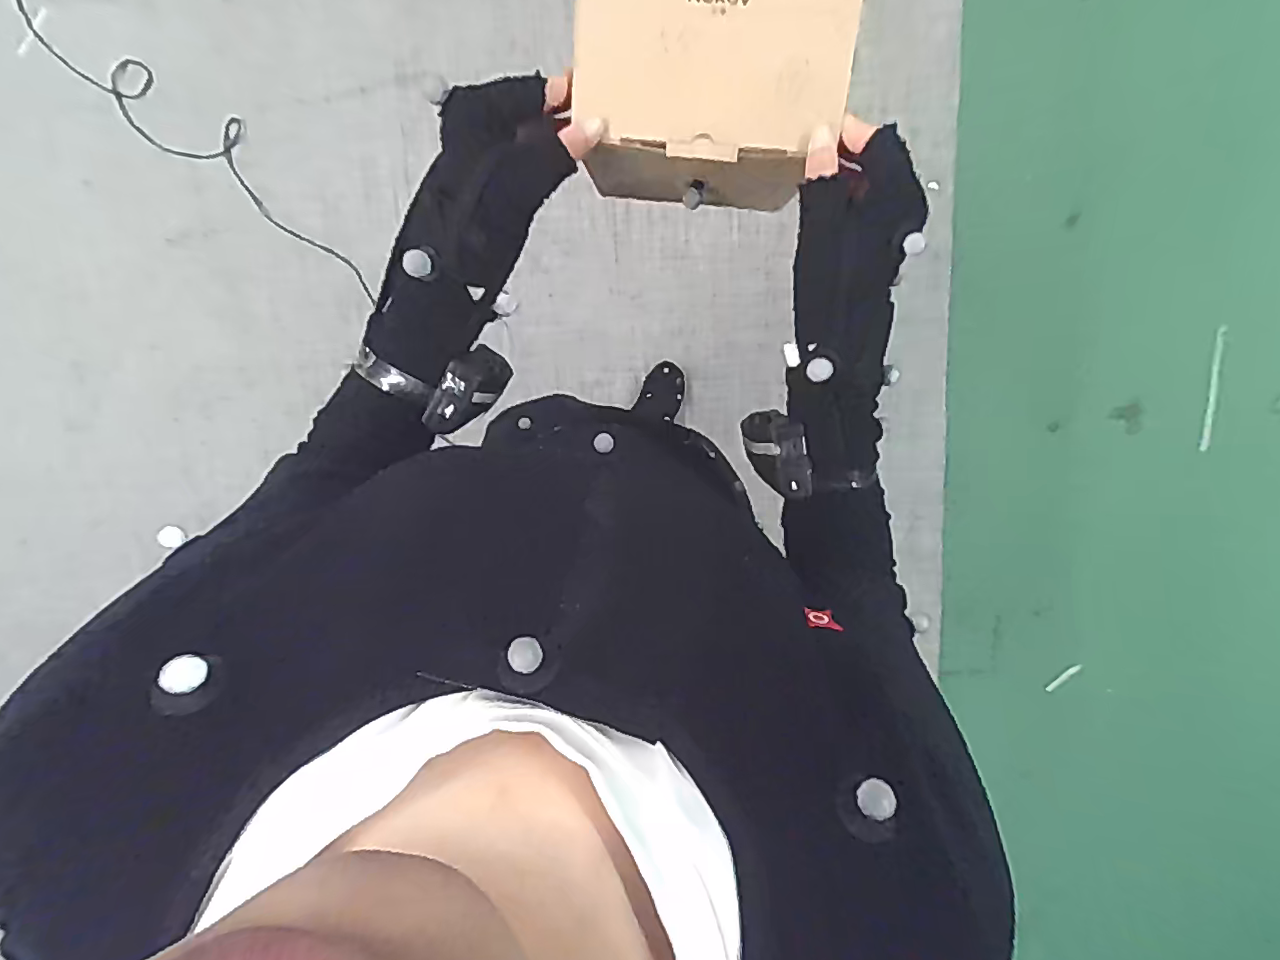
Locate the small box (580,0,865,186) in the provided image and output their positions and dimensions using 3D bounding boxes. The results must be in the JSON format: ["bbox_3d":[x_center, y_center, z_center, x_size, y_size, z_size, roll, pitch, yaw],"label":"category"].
[{"bbox_3d":[0.054,-0.322,0.383,0.168,0.176,0.179,5,109,1],"label":"small box"}]
